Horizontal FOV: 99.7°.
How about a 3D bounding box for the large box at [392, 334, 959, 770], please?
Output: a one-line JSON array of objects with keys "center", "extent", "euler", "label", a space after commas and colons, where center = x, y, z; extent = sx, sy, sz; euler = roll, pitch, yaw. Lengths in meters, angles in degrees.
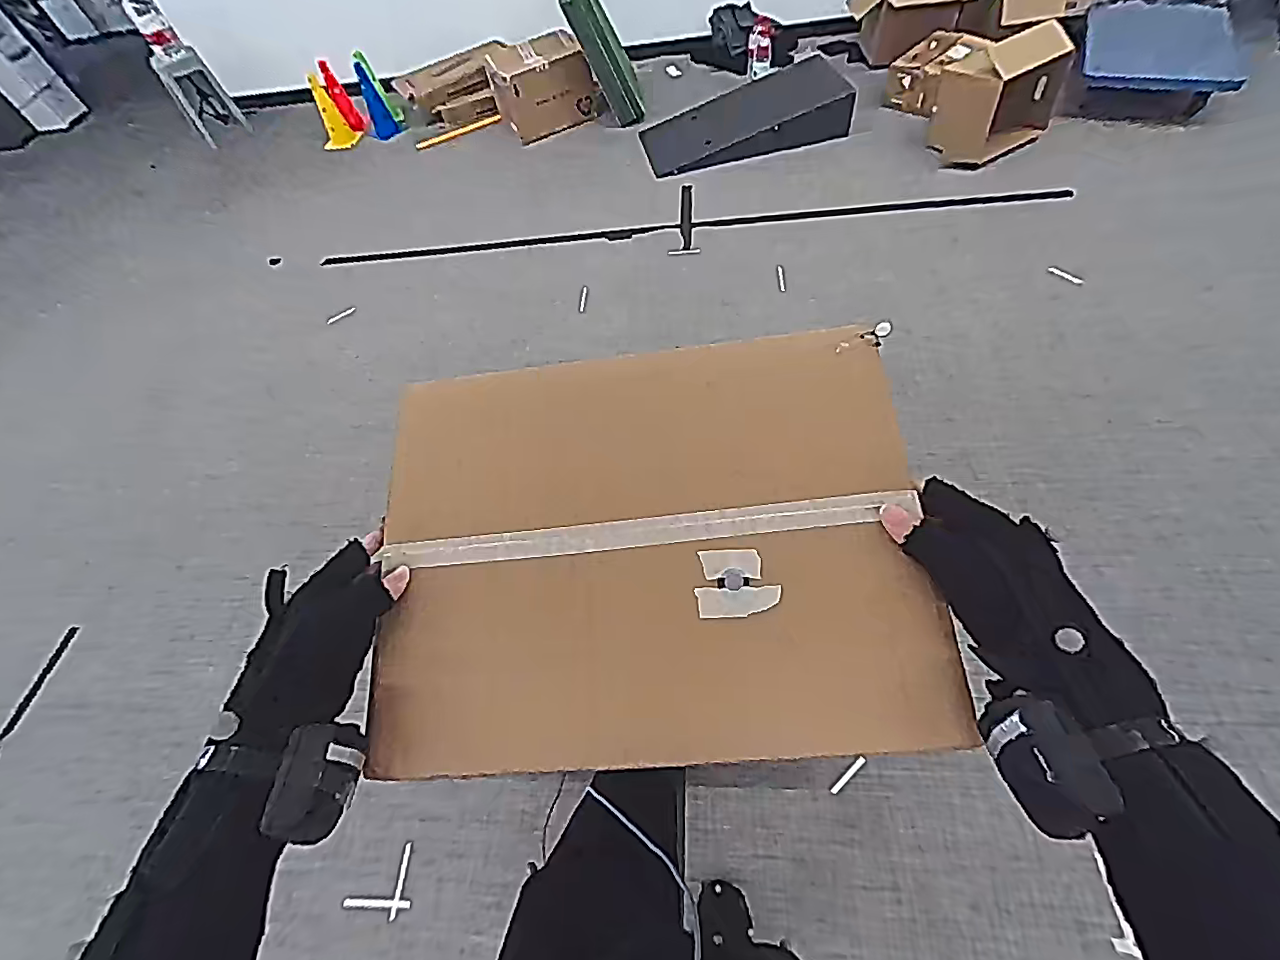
[{"center": [0.021, 0.093, 0.562], "extent": [0.408, 0.320, 0.320], "euler": [-6, 70, 6], "label": "large box"}]
